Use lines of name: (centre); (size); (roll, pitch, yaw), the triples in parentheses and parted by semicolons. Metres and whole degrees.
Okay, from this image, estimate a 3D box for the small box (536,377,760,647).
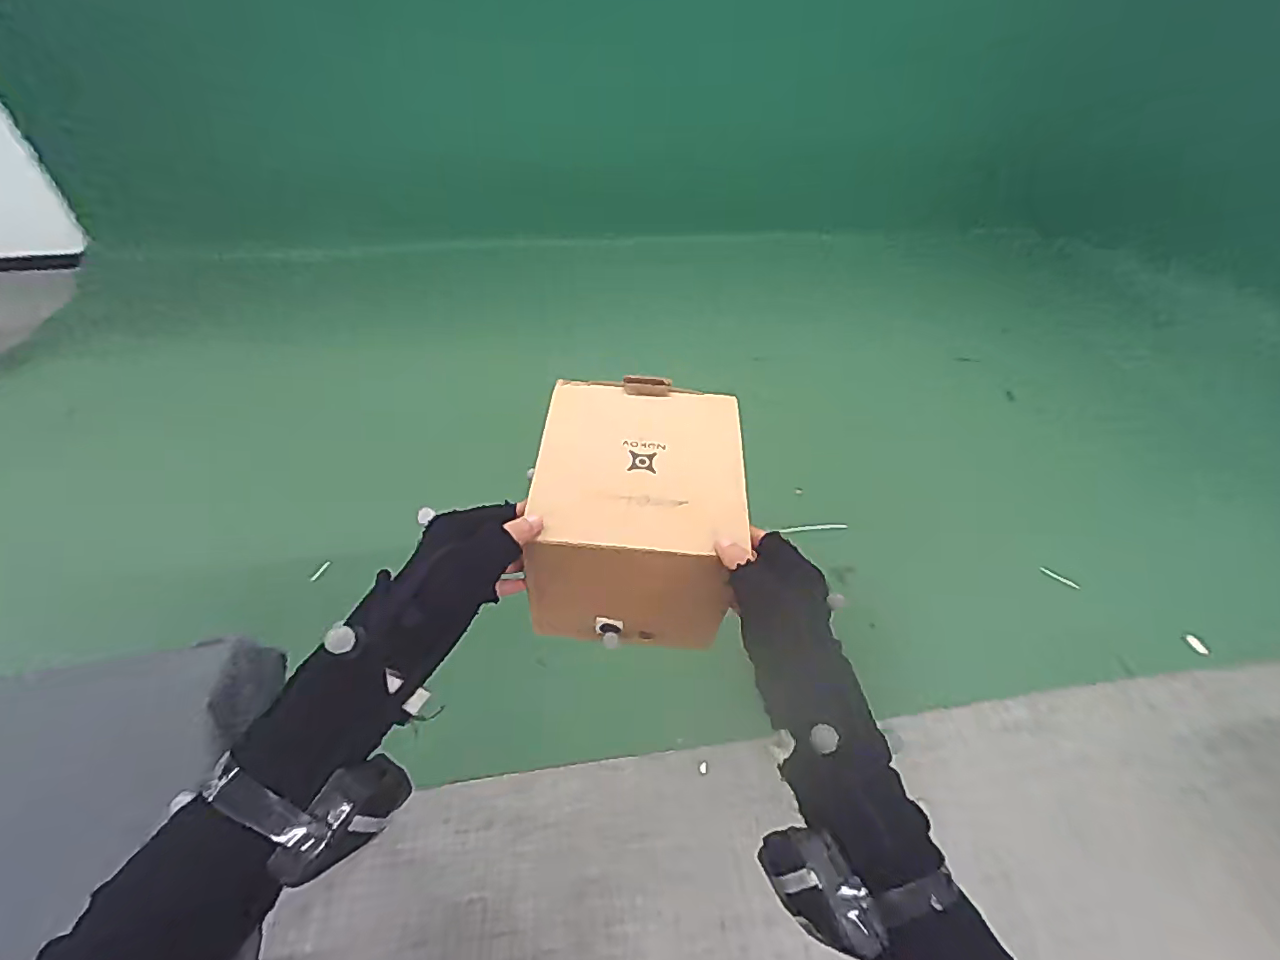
small box: (0.004, 0.033, 0.499); (0.168, 0.176, 0.179); (6, 52, -2)
